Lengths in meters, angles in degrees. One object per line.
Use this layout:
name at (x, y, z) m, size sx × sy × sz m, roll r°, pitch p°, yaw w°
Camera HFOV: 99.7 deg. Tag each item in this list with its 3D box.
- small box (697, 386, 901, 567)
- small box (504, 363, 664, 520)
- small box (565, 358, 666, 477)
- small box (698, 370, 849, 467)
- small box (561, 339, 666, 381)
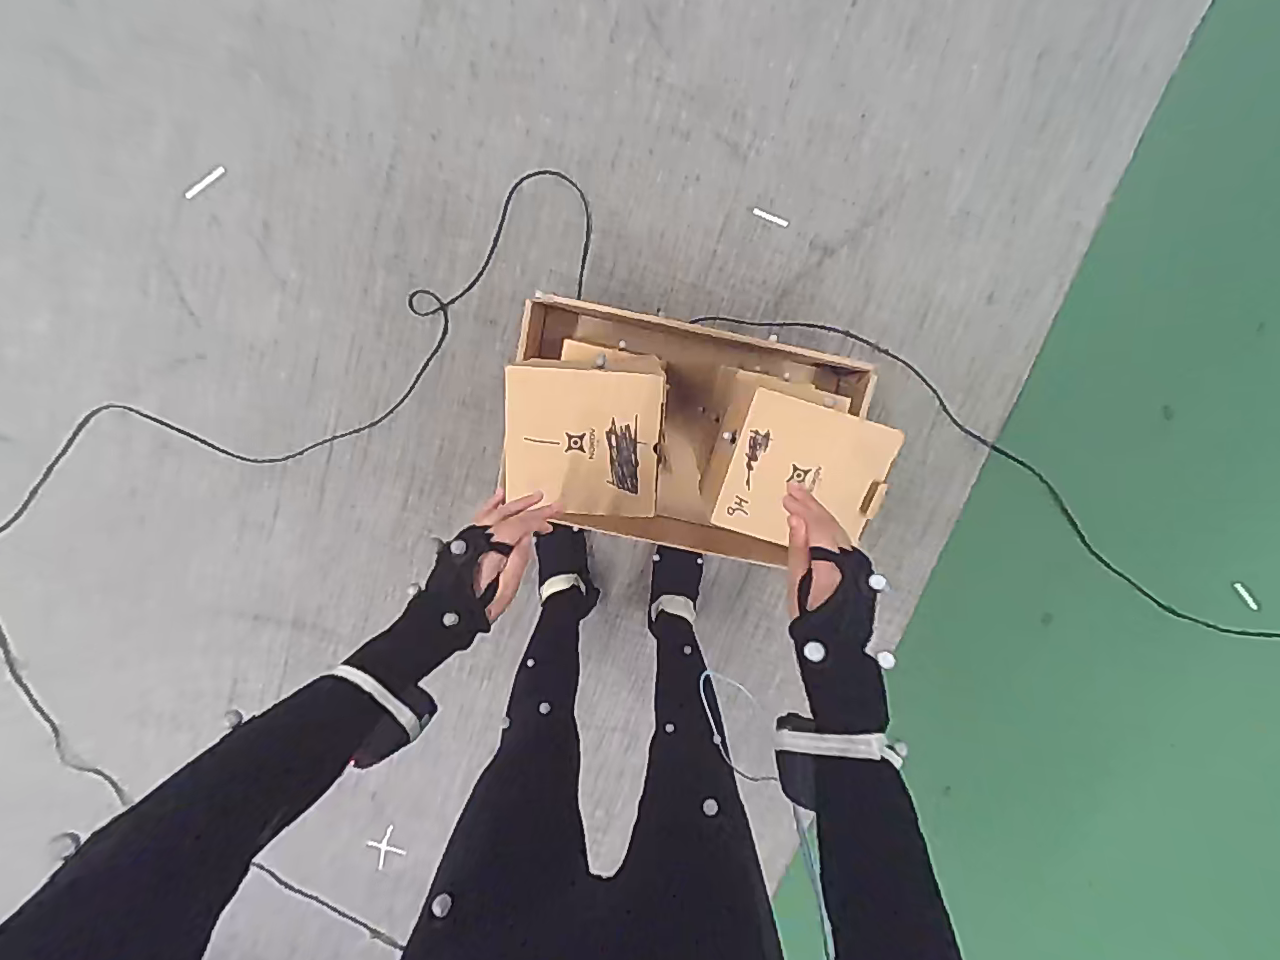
small box at (0.184, -0.016, 0.686) m, size 0.179 × 0.176 × 0.168 m, roll 17°, pitch 103°, yaw -3°
small box at (-0.066, -0.058, 0.683) m, size 0.179 × 0.176 × 0.168 m, roll 4°, pitch 105°, yaw 0°
small box at (-0.054, -0.099, 0.842) m, size 0.179 × 0.176 × 0.168 m, roll -3°, pitch 105°, yaw 1°
small box at (0.193, -0.067, 0.843) m, size 0.168 × 0.176 × 0.179 m, roll 15°, pitch 104°, yaw -2°
small box at (-0.059, -0.157, 0.995) m, size 0.179 × 0.176 × 0.168 m, roll 12°, pitch 104°, yaw -4°
